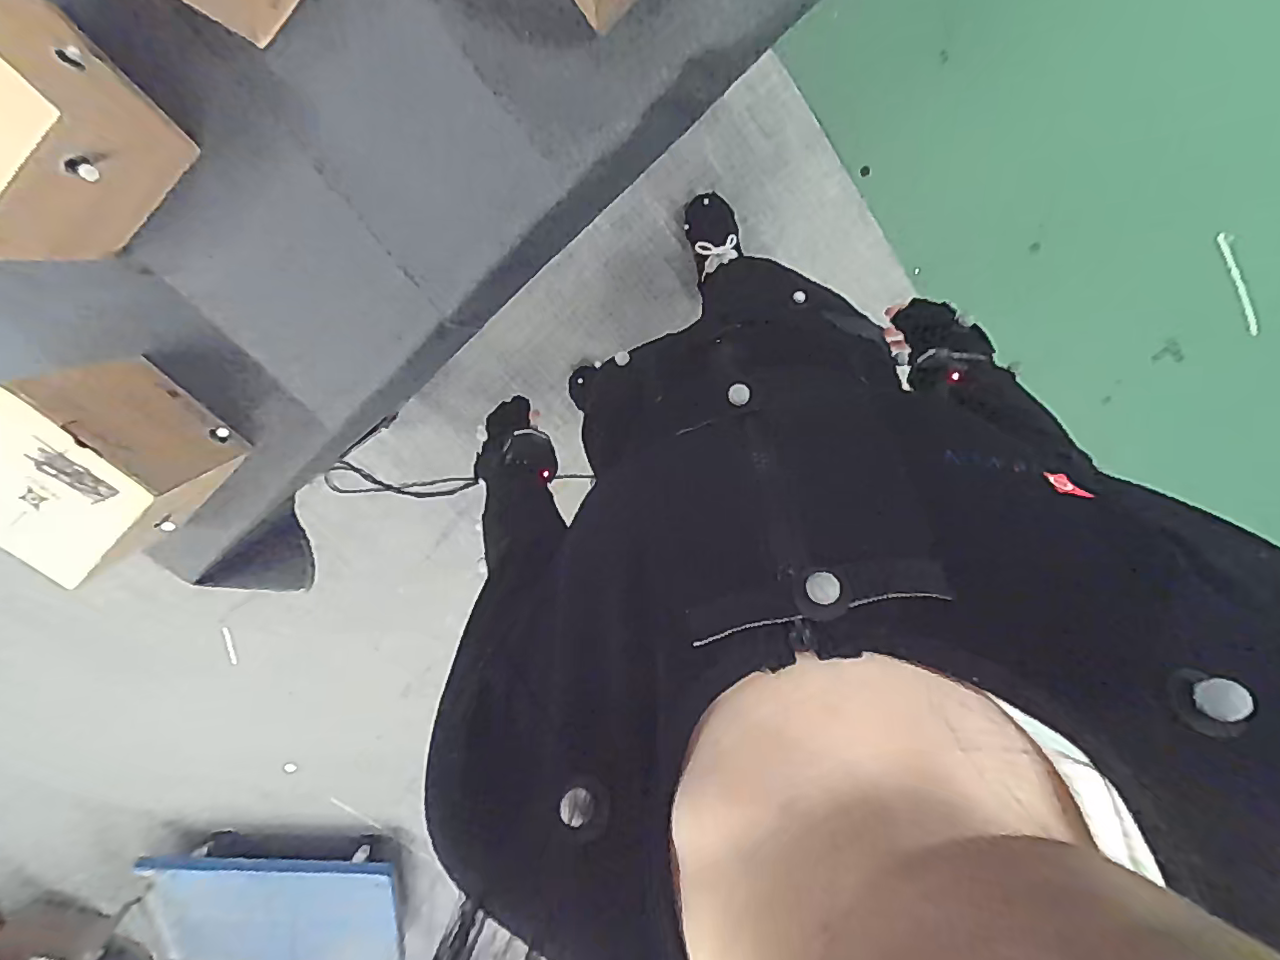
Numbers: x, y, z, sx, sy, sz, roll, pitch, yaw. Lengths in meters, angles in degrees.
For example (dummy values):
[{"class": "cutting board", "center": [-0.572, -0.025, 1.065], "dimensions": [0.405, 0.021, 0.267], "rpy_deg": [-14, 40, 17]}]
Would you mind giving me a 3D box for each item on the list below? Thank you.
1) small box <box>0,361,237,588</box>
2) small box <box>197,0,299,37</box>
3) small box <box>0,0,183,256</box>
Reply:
[{"class": "small box", "center": [-0.627, -0.017, 0.632], "dimensions": [0.179, 0.176, 0.168], "rpy_deg": [-39, 108, 13]}, {"class": "small box", "center": [-0.384, -0.528, 0.443], "dimensions": [0.168, 0.176, 0.179], "rpy_deg": [-40, 109, 12]}, {"class": "small box", "center": [-0.591, -0.336, 0.506], "dimensions": [0.179, 0.176, 0.168], "rpy_deg": [-38, 109, 12]}]
